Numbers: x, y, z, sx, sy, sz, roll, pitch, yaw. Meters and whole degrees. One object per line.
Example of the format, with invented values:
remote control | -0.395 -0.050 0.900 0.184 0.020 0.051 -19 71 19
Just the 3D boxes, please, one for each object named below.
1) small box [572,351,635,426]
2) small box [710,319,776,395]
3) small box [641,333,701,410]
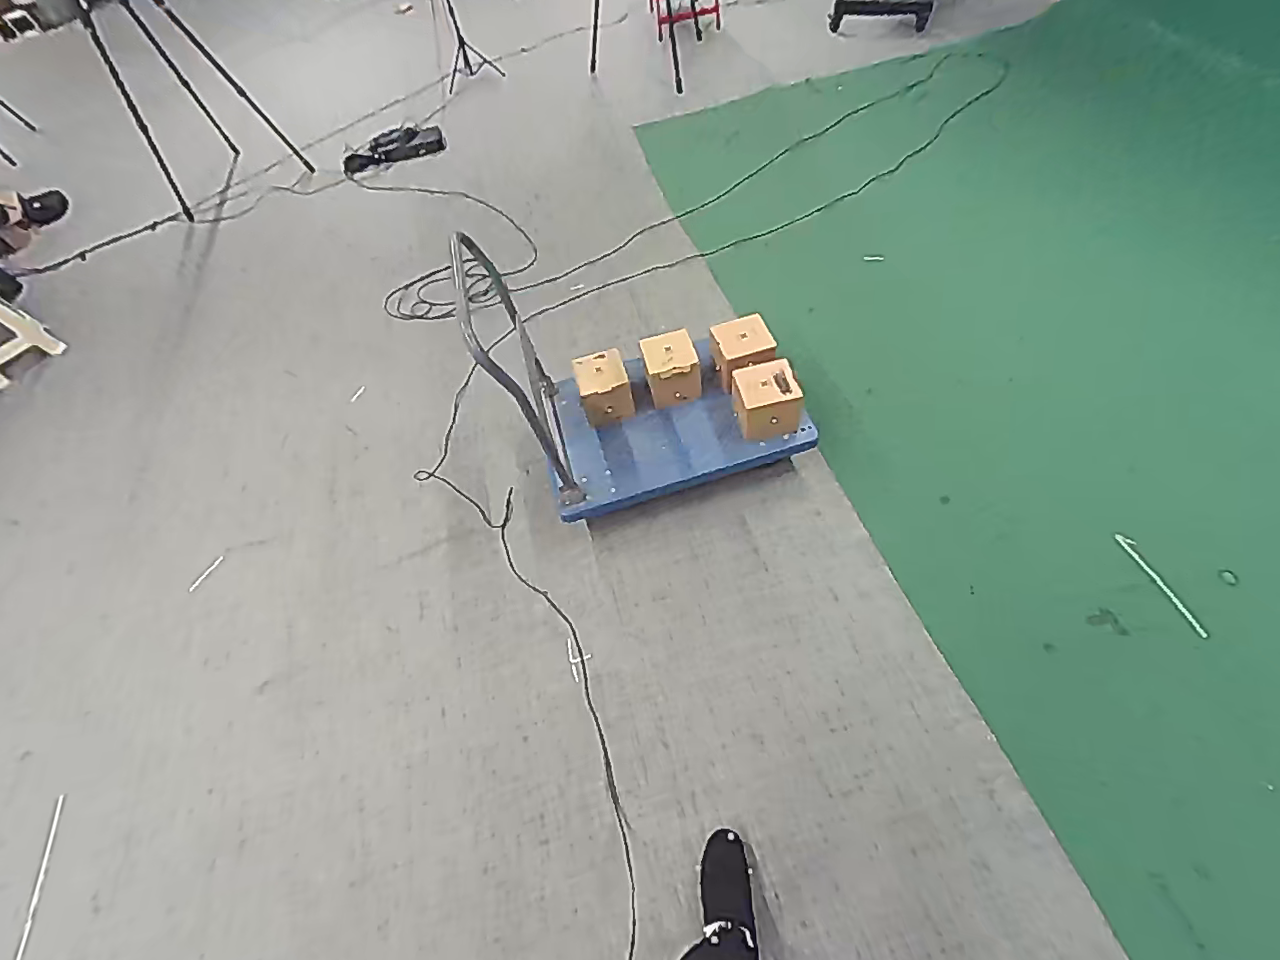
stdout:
small box | -0.121 -0.301 1.831 0.168 0.176 0.179 -15 56 -2
small box | 0.347 -0.412 1.836 0.179 0.176 0.168 -16 57 -2
small box | 0.106 -0.367 1.841 0.168 0.176 0.179 -14 56 0
